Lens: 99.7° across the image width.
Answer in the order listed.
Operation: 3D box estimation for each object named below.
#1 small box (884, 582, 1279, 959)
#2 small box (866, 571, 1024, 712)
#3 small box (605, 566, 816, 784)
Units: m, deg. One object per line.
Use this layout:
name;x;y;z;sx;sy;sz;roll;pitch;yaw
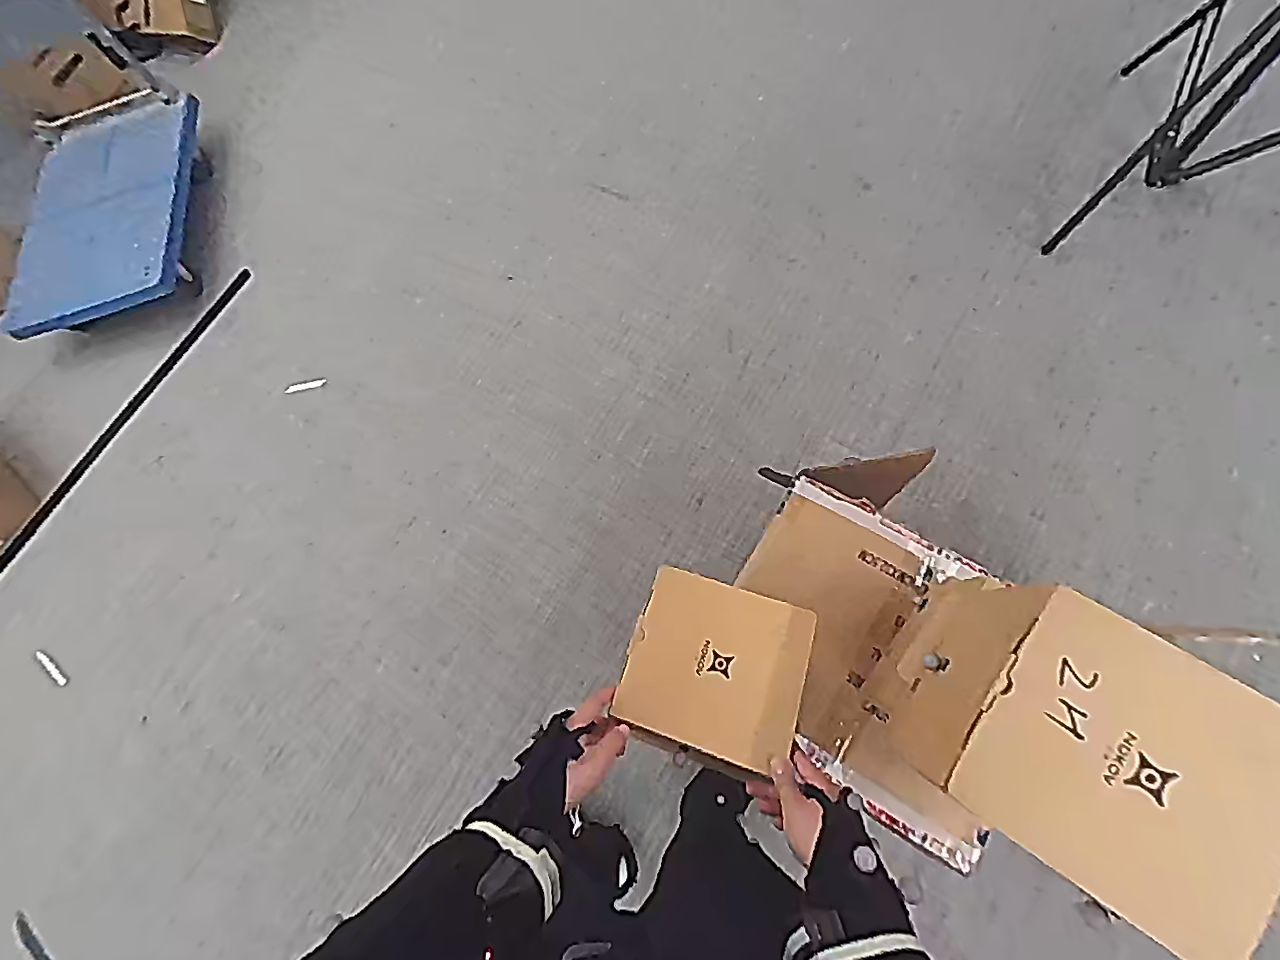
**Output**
small box;0.324;0.197;0.416;0.179;0.176;0.168;33;83;17
small box;0.371;0.221;0.574;0.179;0.176;0.168;36;84;17
small box;0.080;0.222;0.608;0.179;0.176;0.168;15;62;13
